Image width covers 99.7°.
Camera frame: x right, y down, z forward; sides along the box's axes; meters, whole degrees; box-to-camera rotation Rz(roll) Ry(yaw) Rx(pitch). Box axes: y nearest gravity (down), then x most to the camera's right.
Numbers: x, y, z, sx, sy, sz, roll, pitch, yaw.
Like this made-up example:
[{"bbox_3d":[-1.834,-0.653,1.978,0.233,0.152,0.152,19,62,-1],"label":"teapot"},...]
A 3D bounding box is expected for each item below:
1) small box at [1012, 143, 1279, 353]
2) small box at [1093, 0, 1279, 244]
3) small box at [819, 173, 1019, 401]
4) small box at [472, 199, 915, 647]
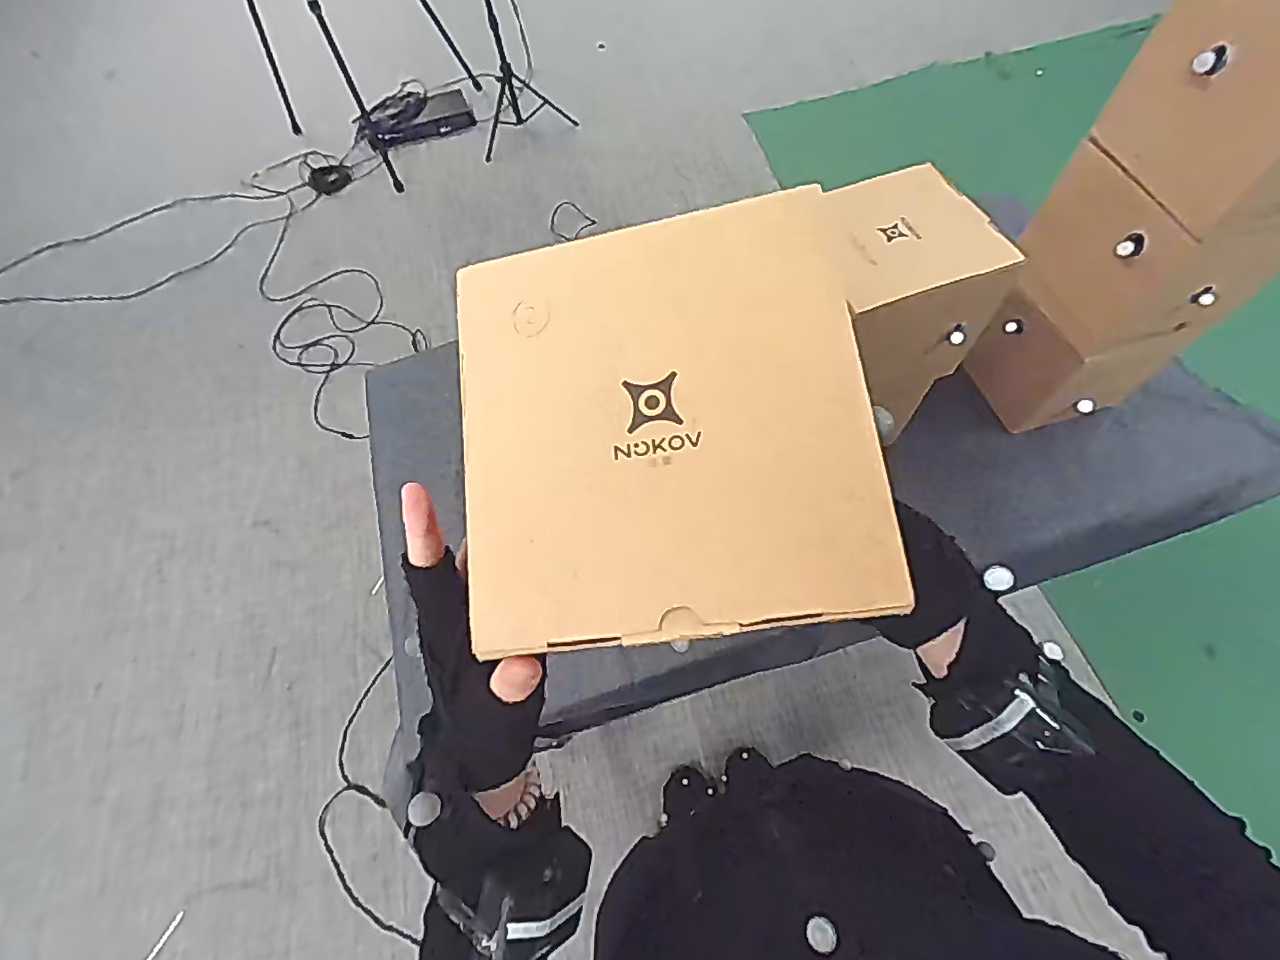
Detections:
[{"bbox_3d":[0.572,-0.265,0.611,0.168,0.176,0.179,-14,62,-2],"label":"small box"},{"bbox_3d":[0.558,-0.339,0.465,0.168,0.176,0.179,-13,61,-1],"label":"small box"},{"bbox_3d":[0.258,-0.199,0.607,0.179,0.176,0.168,-18,61,-4],"label":"small box"},{"bbox_3d":[0.022,-0.009,0.299,0.168,0.176,0.179,-9,76,8],"label":"small box"}]
